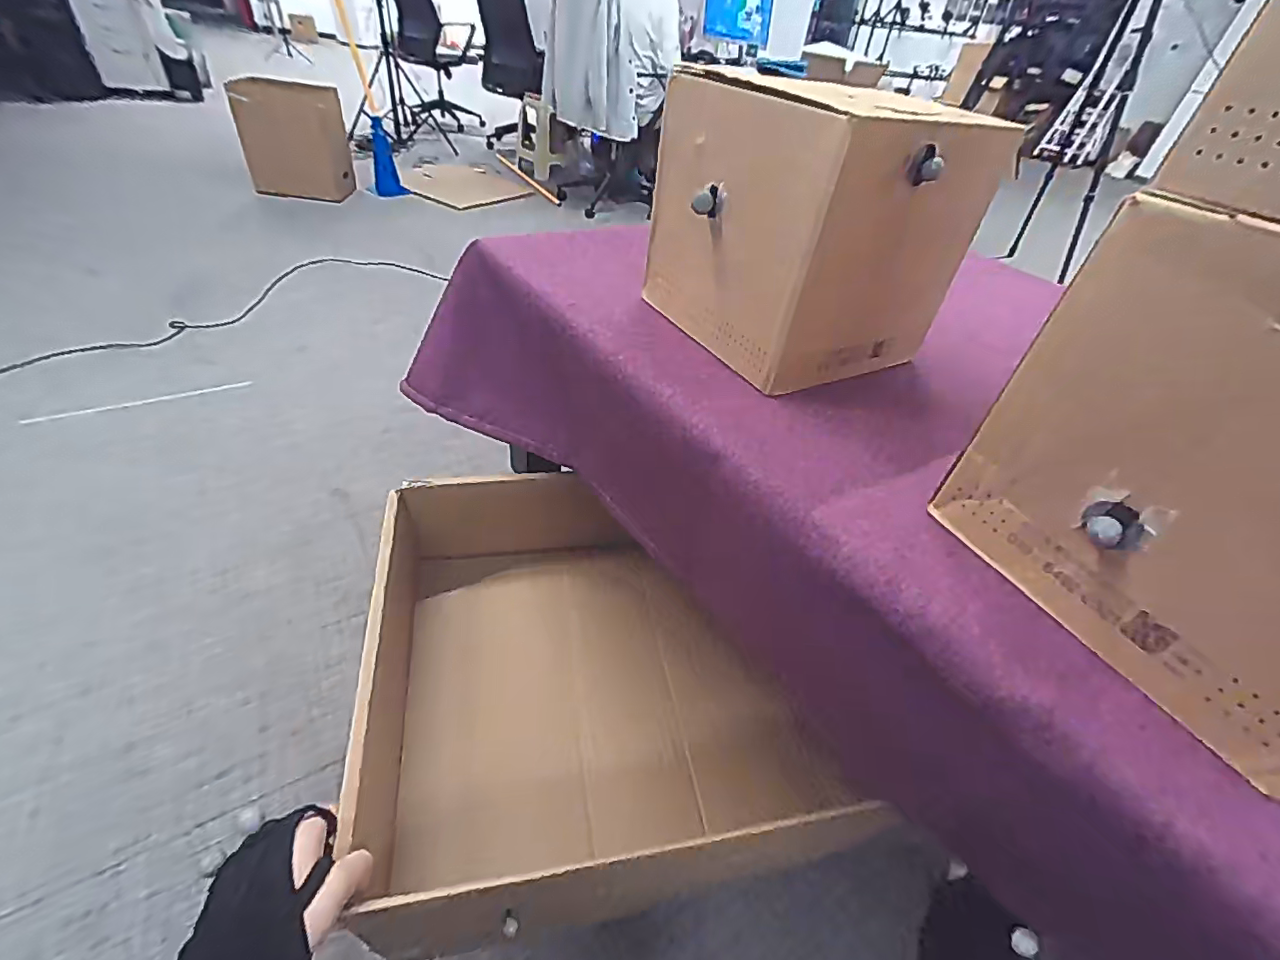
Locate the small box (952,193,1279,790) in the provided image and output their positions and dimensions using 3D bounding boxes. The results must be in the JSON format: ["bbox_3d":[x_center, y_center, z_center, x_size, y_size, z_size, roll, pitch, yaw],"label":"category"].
[{"bbox_3d":[0.283,-0.008,0.233,0.179,0.176,0.168,-14,45,-23],"label":"small box"}]

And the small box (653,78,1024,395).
[{"bbox_3d":[0.124,-0.187,0.411,0.168,0.176,0.179,-18,46,-26],"label":"small box"}]
